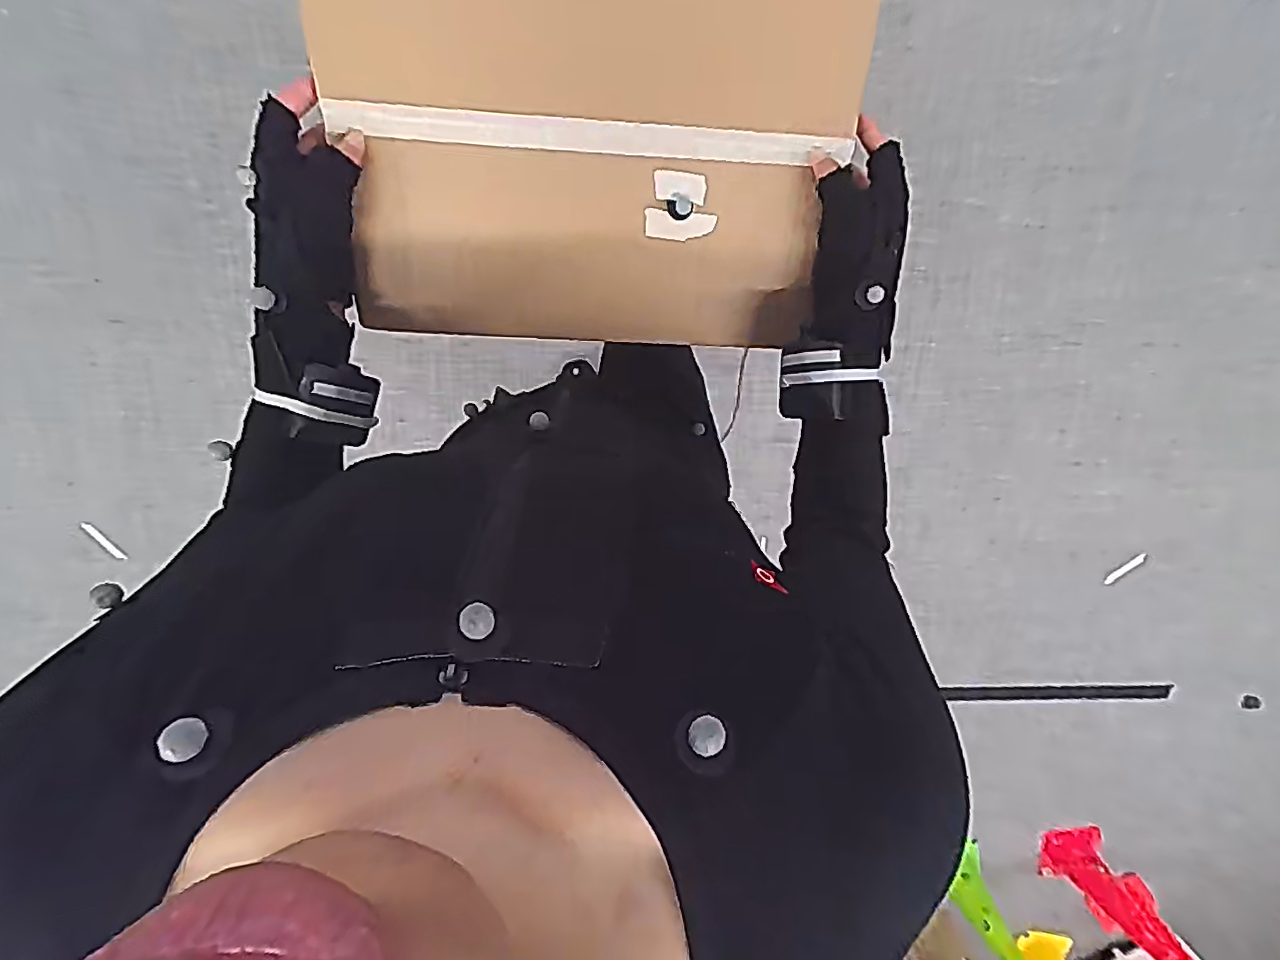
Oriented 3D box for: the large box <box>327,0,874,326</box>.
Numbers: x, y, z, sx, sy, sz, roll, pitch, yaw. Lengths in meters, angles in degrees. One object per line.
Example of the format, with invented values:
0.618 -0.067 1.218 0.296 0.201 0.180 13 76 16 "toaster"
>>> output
-0.040 -0.347 0.557 0.408 0.320 0.320 0 118 -6 "large box"
